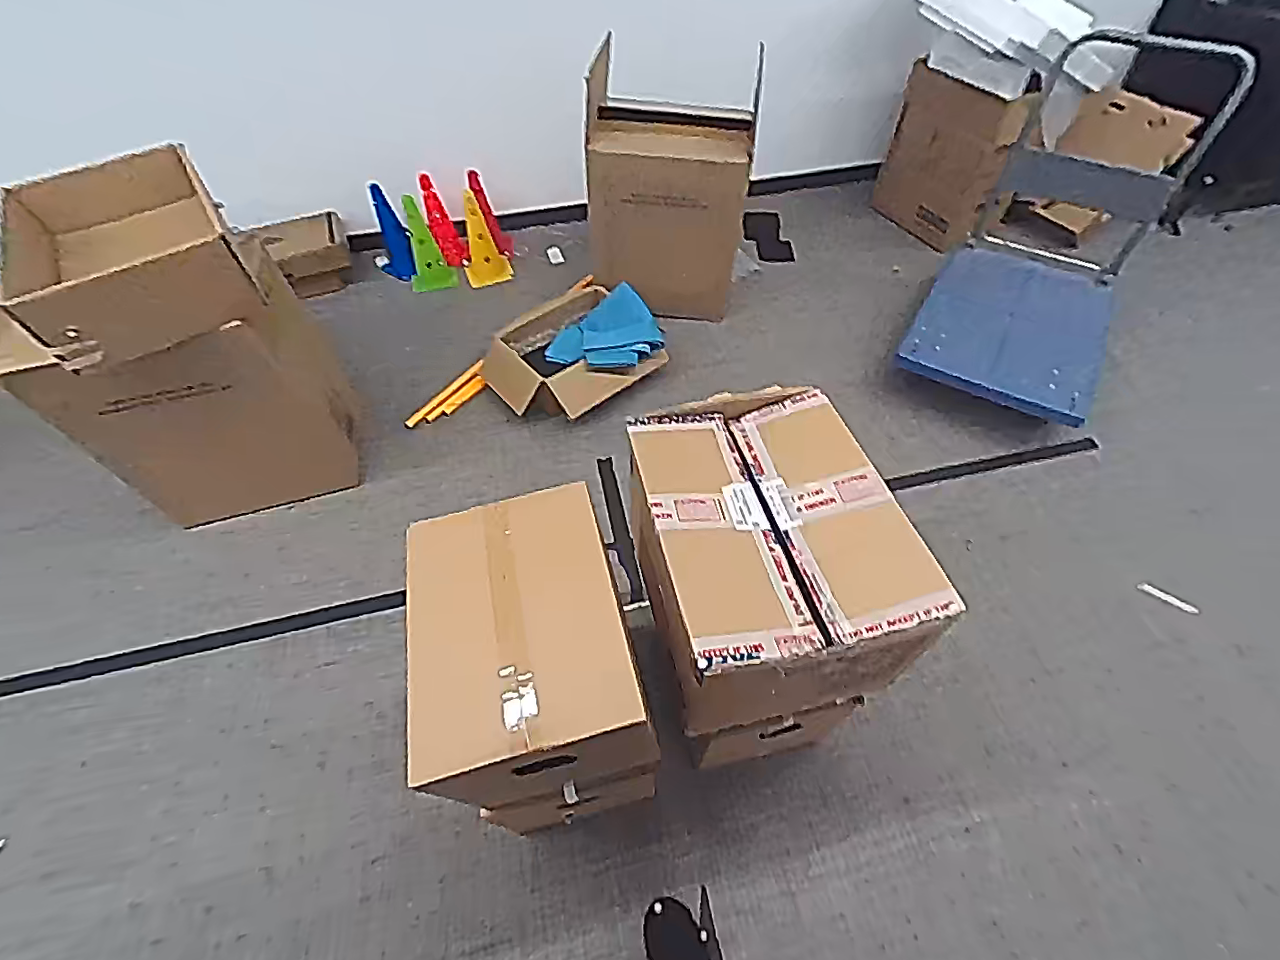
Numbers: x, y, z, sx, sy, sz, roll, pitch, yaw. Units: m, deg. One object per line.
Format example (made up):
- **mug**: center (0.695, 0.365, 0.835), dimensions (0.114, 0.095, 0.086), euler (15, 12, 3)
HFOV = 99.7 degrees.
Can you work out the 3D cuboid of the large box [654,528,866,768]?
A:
- **large box**: center (0.233, 0.382, 1.240), dimensions (0.320, 0.320, 0.408), euler (-12, 54, -8)
